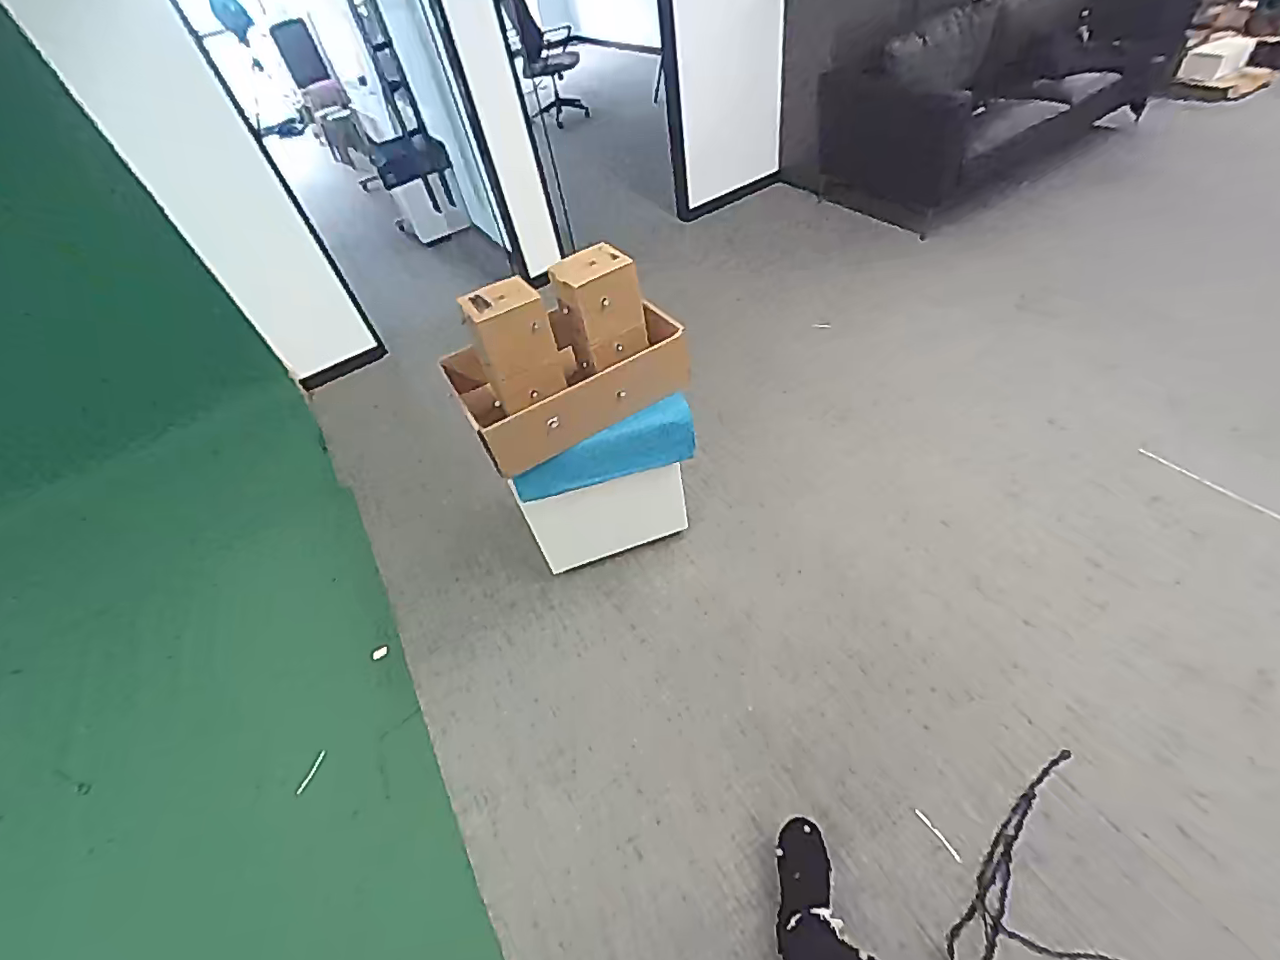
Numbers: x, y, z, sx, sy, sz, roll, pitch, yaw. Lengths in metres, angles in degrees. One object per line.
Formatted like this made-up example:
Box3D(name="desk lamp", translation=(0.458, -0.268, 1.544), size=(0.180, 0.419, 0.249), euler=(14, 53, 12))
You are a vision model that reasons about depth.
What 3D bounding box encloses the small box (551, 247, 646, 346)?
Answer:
Box3D(name="small box", translation=(-0.105, -0.485, 1.440), size=(0.179, 0.176, 0.168), euler=(-31, 49, -13))
